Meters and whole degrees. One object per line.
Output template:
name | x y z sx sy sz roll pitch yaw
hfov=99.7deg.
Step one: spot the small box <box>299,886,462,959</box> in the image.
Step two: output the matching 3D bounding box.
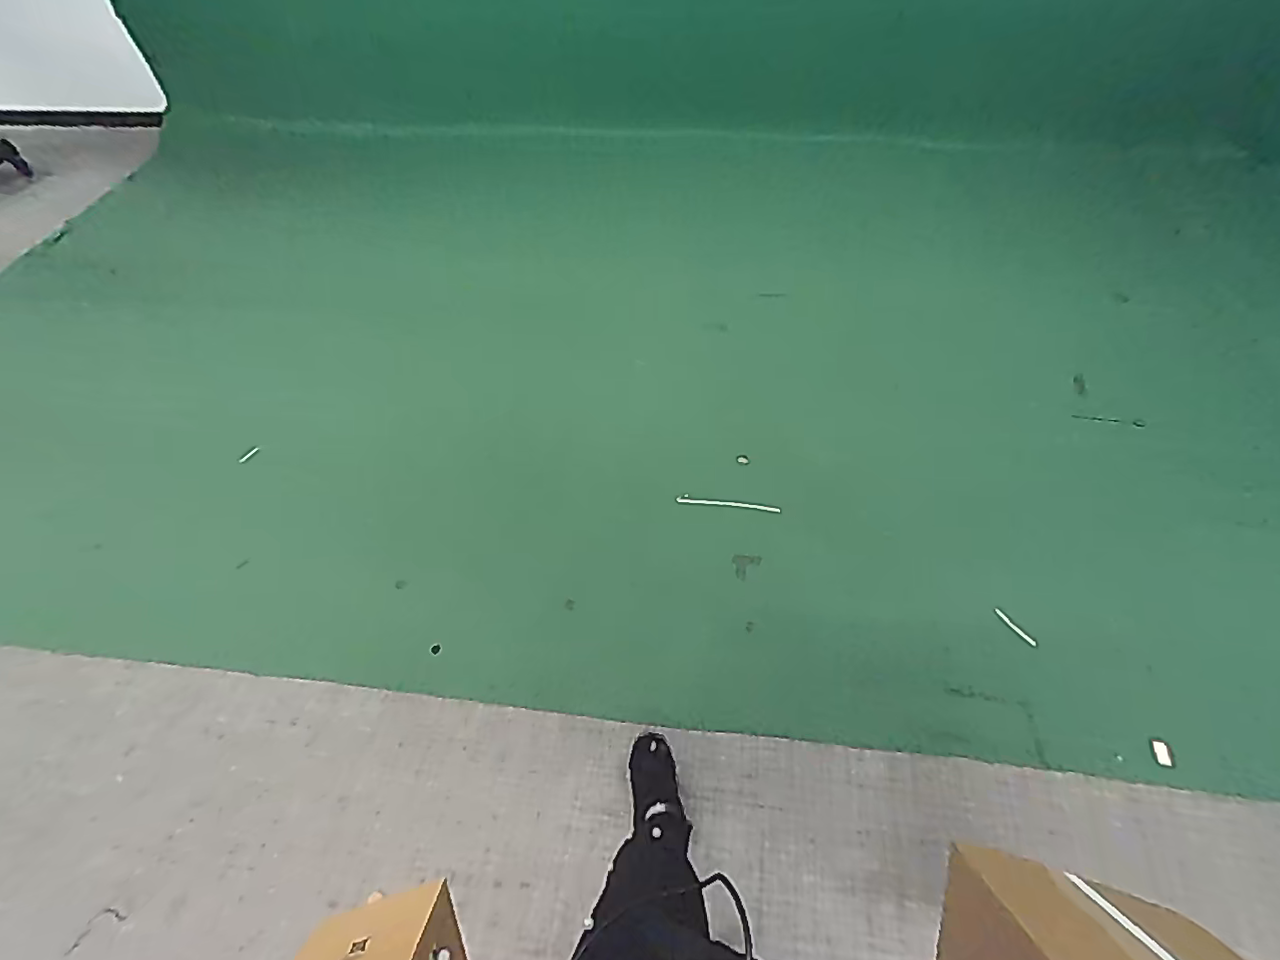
small box | -0.304 0.628 0.618 0.168 0.179 0.176 -16 86 -7
